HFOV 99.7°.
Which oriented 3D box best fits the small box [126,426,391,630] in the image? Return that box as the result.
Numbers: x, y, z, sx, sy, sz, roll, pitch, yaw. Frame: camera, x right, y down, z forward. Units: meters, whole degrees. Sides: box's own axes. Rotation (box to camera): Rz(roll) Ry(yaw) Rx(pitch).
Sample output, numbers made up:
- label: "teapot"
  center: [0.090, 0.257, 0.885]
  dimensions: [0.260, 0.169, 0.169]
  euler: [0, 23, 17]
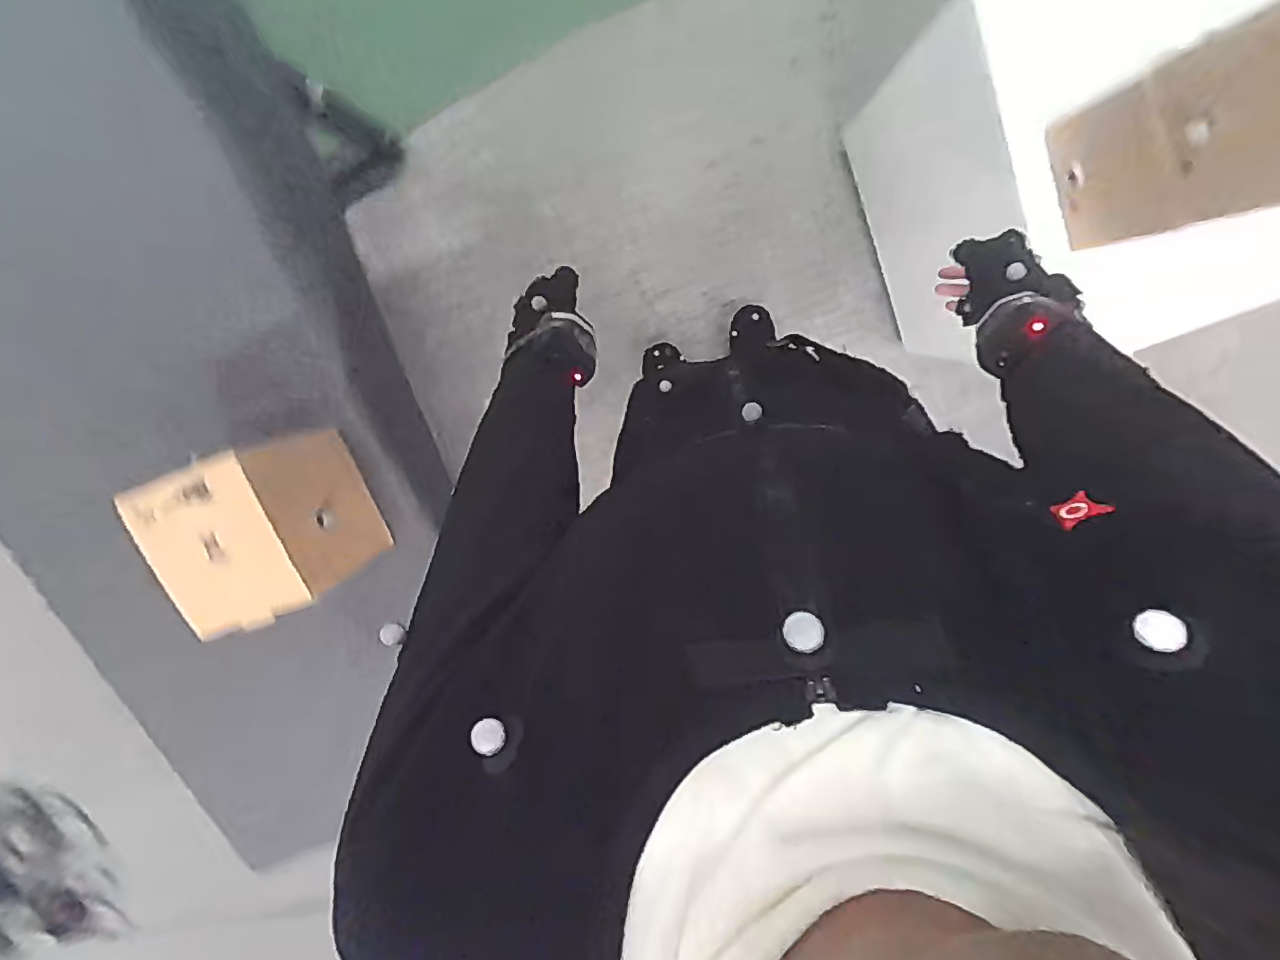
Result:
- label: "small box"
  center: [-0.450, 0.051, 0.672]
  dimensions: [0.168, 0.176, 0.179]
  euler: [-19, 104, 12]

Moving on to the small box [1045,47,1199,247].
- label: "small box"
  center: [0.602, -0.381, 0.594]
  dimensions: [0.179, 0.176, 0.168]
  euler: [-23, 102, 12]

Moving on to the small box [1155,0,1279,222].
- label: "small box"
  center: [0.590, -0.338, 0.435]
  dimensions: [0.179, 0.176, 0.168]
  euler: [-25, 102, 10]
